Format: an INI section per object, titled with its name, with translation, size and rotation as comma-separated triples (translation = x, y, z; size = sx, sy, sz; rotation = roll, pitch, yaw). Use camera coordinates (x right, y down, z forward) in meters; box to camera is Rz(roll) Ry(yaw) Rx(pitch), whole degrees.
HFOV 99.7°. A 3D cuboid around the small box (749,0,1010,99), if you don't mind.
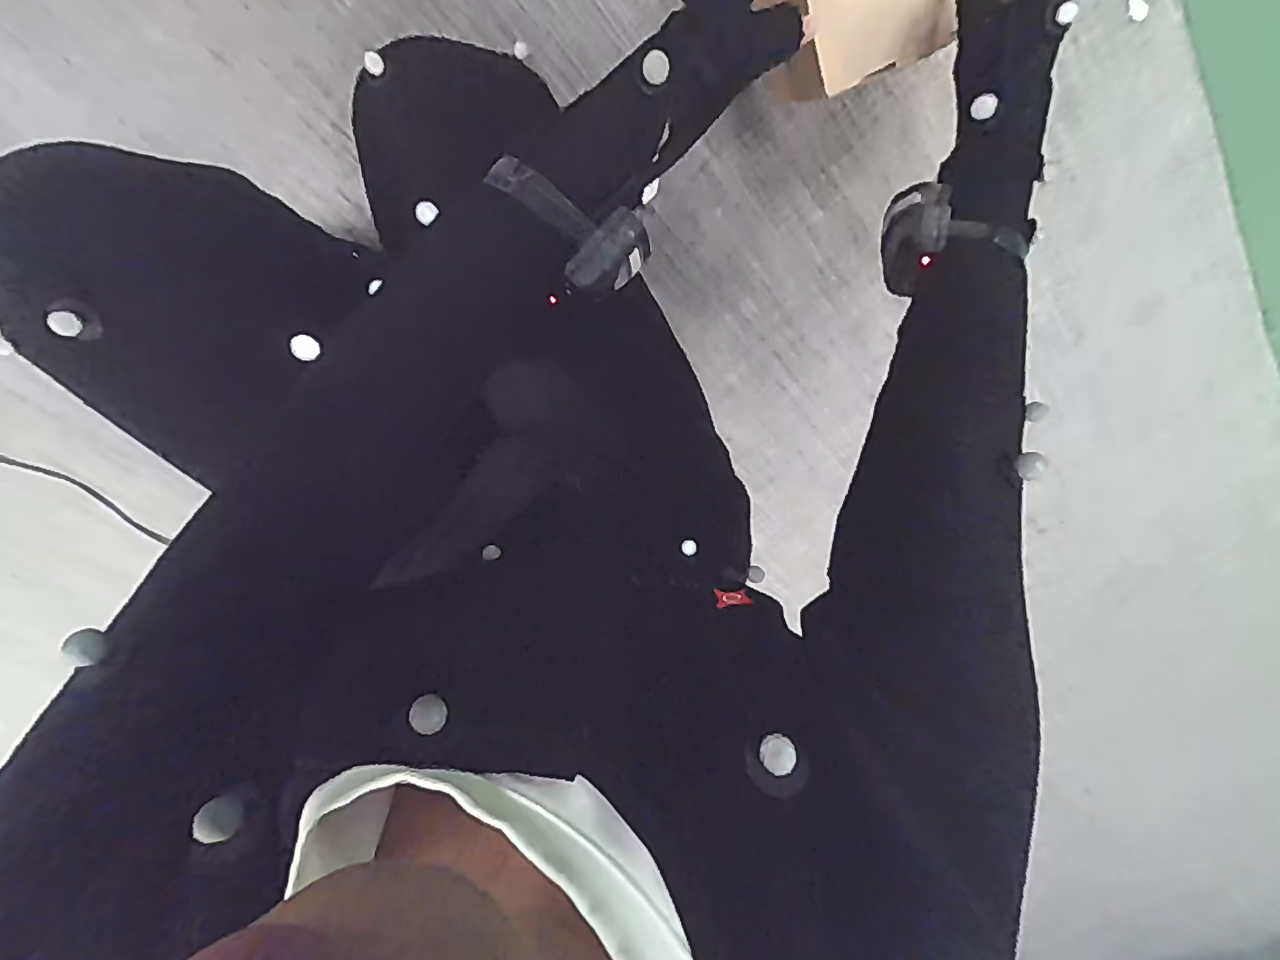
[small box]
translation = 0.189, -0.462, 0.465
size = 0.168, 0.176, 0.179
rotation = -22, 120, 13
